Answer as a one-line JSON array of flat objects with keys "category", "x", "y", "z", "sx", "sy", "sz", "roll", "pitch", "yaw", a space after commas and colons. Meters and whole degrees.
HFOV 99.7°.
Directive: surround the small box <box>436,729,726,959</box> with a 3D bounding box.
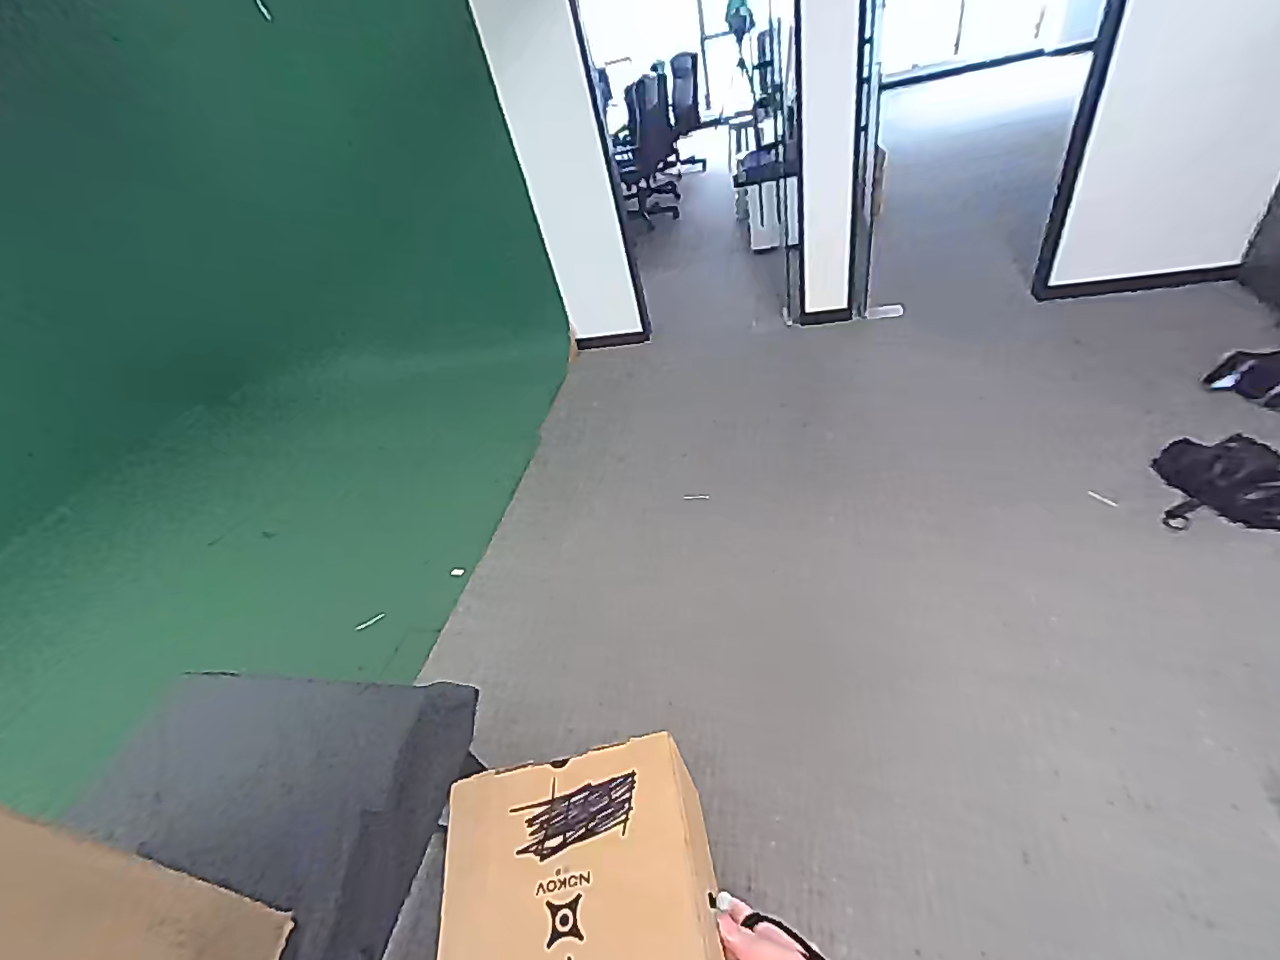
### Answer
[{"category": "small box", "x": -0.031, "y": 0.313, "z": 0.397, "sx": 0.168, "sy": 0.176, "sz": 0.179, "roll": -13, "pitch": 46, "yaw": 3}]
